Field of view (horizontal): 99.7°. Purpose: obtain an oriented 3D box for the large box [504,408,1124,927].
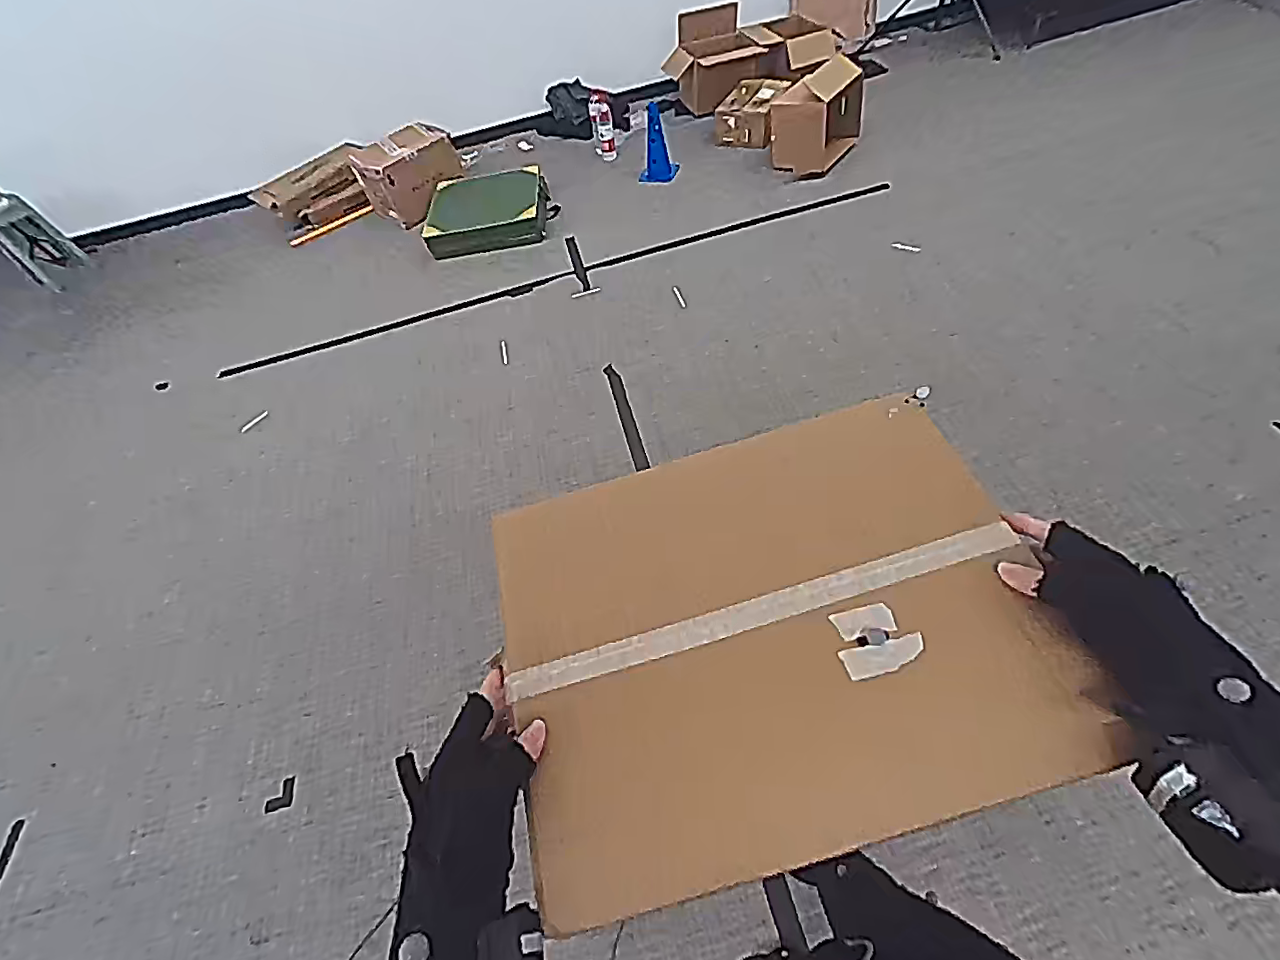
[{"bbox_3d":[0.118,0.189,0.559,0.408,0.320,0.320,-17,57,0],"label":"large box"}]
